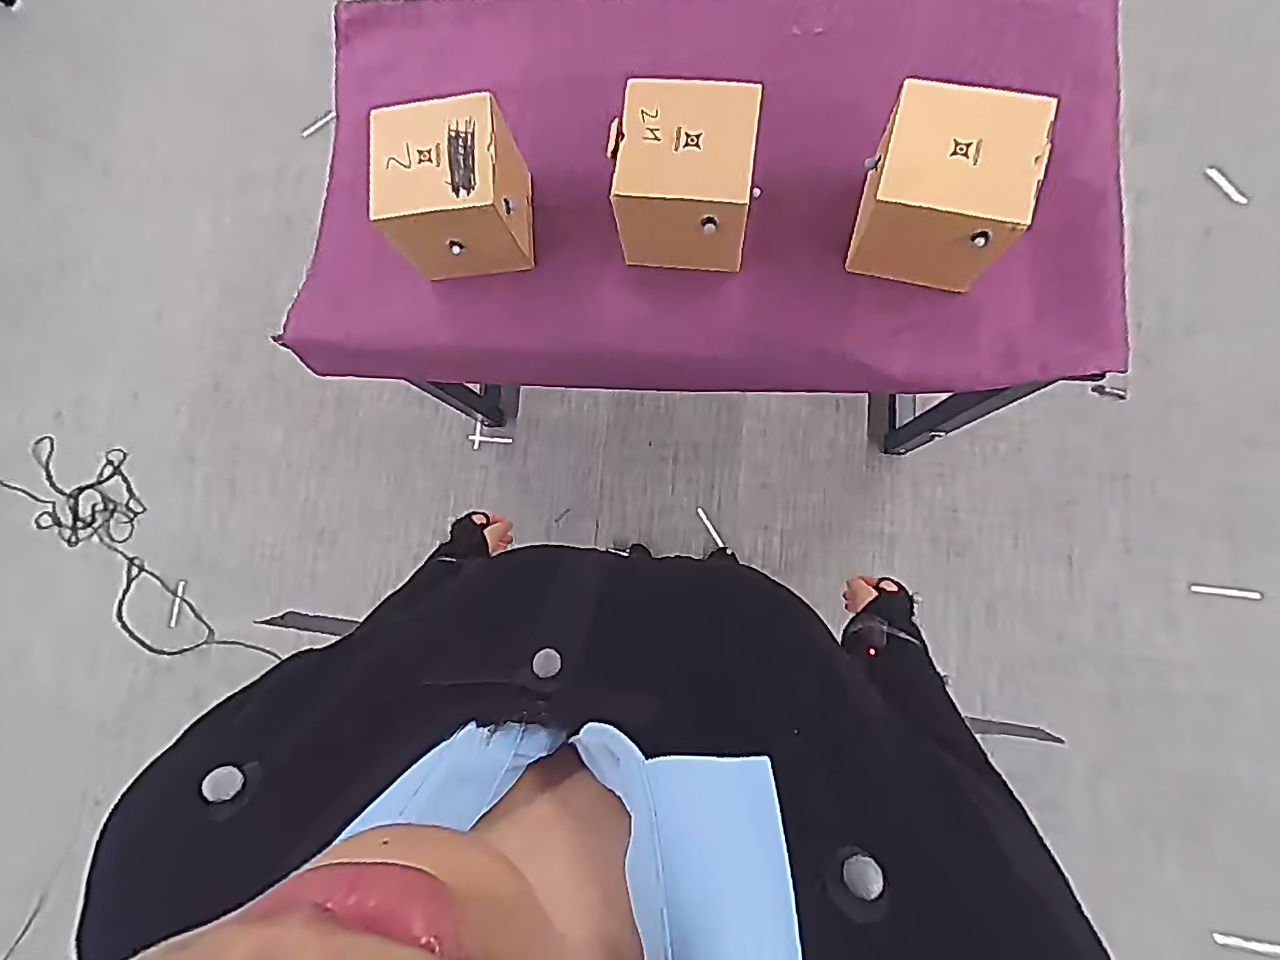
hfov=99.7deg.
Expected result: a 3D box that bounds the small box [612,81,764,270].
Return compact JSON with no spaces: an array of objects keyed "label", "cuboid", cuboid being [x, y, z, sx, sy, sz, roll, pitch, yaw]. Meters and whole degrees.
[{"label":"small box","cuboid":[0.069,-0.415,0.760,0.179,0.176,0.168,7,83,7]}]

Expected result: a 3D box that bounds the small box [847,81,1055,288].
[{"label":"small box","cuboid":[0.394,-0.379,0.718,0.179,0.176,0.168,14,84,8]}]
